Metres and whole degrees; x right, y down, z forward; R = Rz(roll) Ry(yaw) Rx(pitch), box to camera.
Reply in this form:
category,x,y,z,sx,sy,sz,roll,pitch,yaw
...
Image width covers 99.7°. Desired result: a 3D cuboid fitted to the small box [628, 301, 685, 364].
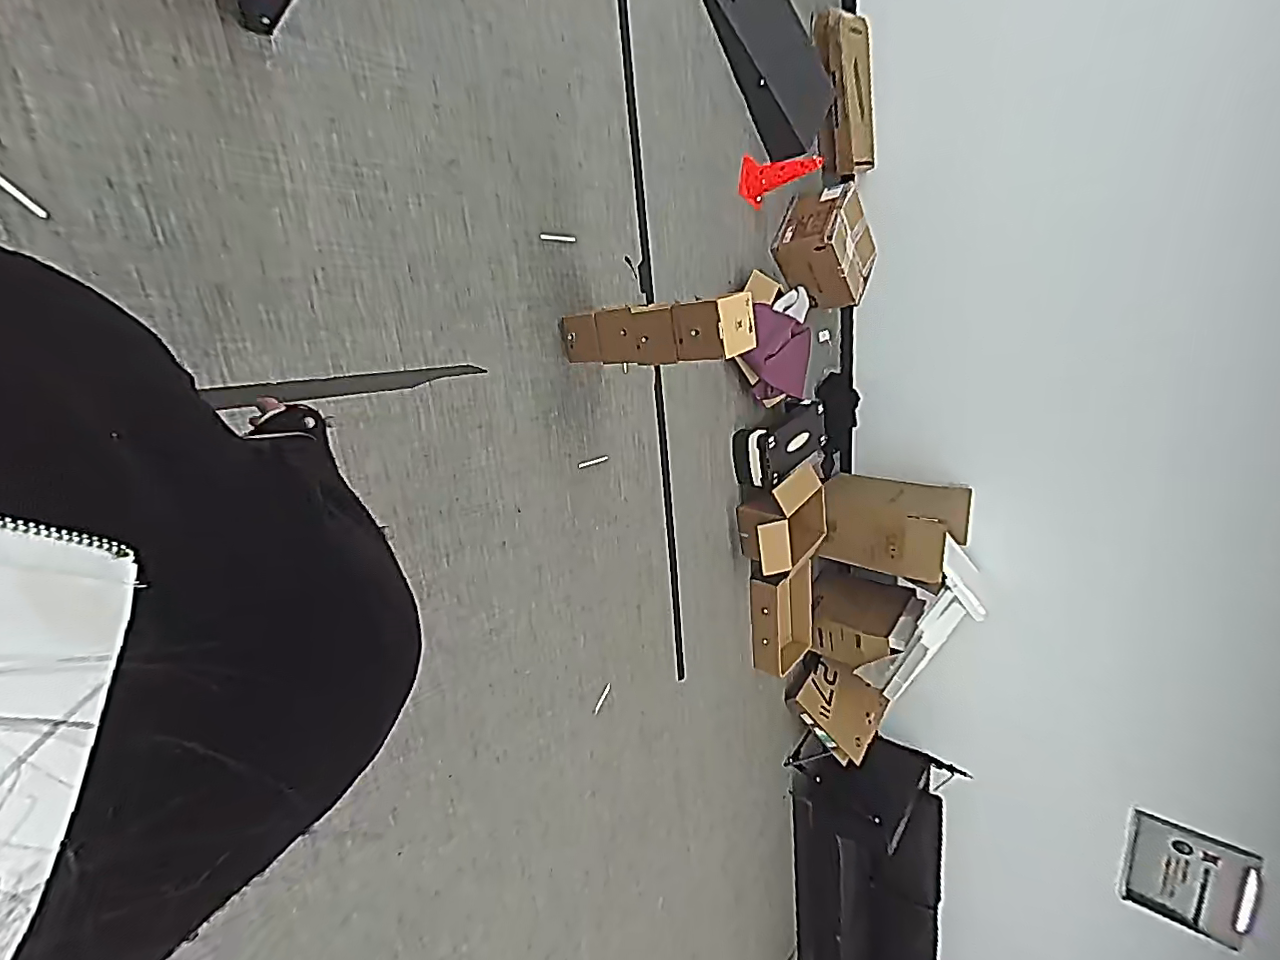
category,x,y,z,sx,sy,sz,roll,pitch,yaw
small box,0.090,-0.465,1.701,0.179,0.176,0.168,-31,118,-40

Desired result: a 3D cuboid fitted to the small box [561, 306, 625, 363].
category,x,y,z,sx,sy,sz,roll,pitch,yaw
small box,-0.153,-0.516,1.918,0.179,0.176,0.168,-28,116,-40

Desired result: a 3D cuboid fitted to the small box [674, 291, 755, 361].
category,x,y,z,sx,sy,sz,roll,pitch,yaw
small box,0.214,-0.452,1.595,0.179,0.176,0.168,-29,117,-41

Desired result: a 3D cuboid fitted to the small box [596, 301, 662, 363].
category,x,y,z,sx,sy,sz,roll,pitch,yaw
small box,-0.030,-0.493,1.812,0.168,0.176,0.179,-26,116,-42
